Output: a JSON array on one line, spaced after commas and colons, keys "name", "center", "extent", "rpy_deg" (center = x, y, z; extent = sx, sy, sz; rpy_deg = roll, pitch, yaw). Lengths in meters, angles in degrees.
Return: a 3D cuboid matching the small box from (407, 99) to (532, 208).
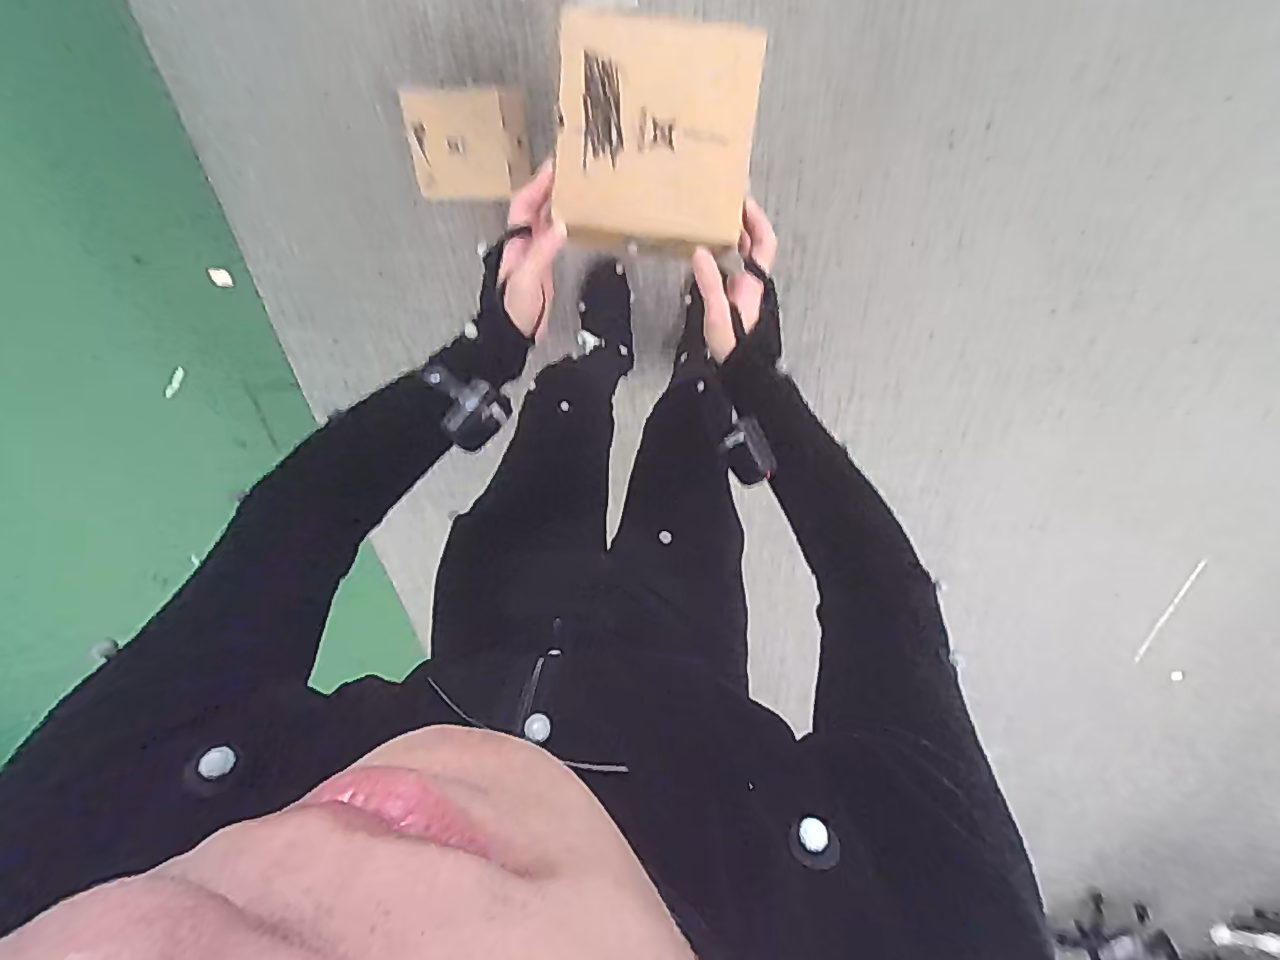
[{"name": "small box", "center": [-0.308, -0.618, 1.021], "extent": [0.179, 0.176, 0.168], "rpy_deg": [0, 124, 2]}]
